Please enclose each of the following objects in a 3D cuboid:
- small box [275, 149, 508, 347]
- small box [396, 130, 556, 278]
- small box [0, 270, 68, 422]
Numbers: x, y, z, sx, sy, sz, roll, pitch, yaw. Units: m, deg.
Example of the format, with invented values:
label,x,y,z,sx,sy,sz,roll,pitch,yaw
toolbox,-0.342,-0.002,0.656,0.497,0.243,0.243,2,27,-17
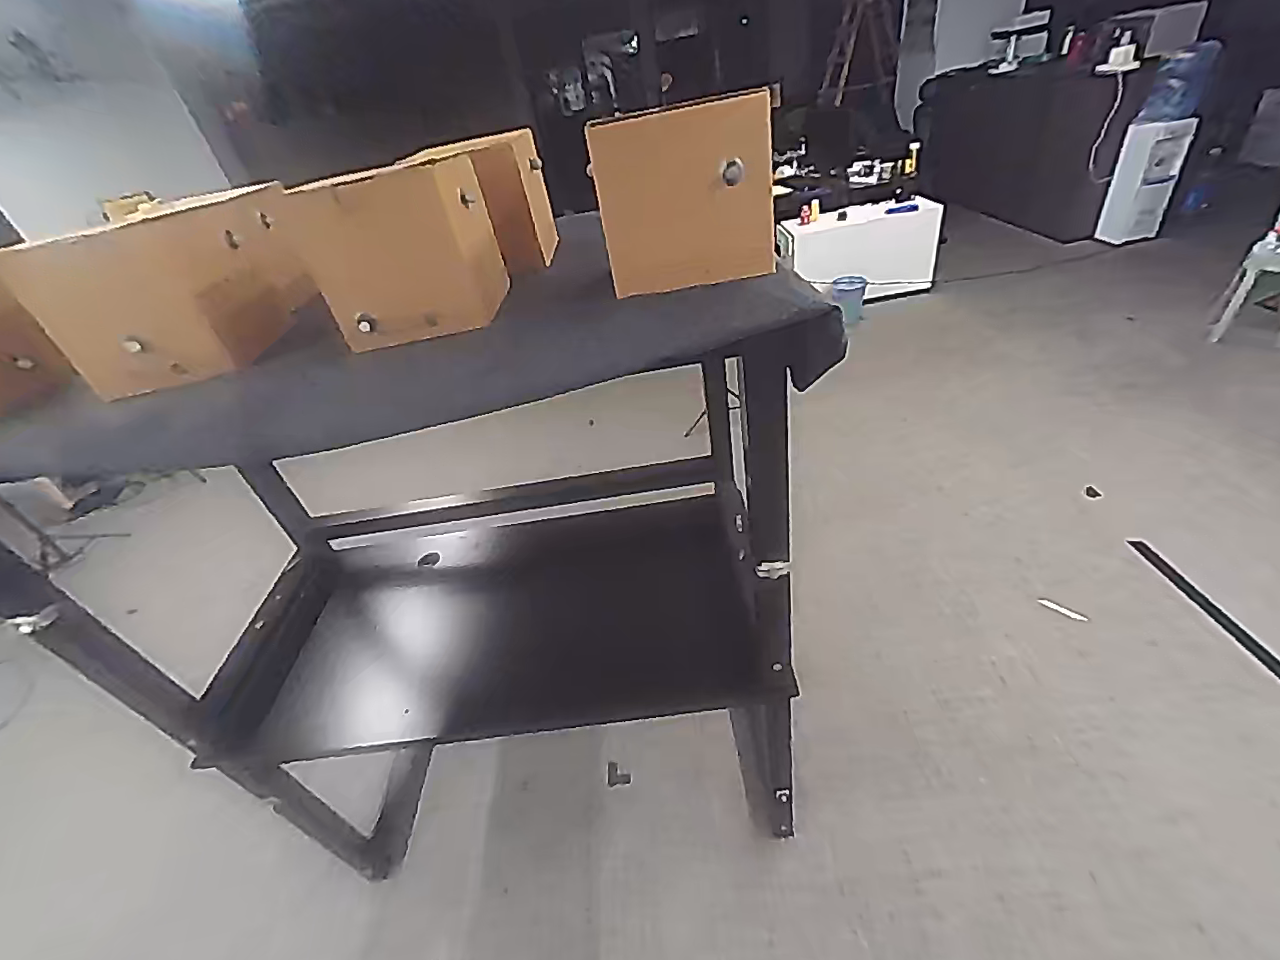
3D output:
label,x,y,z,sx,sy,sz,roll,pitch,yaw
small box,-0.266,-0.267,0.634,0.168,0.176,0.179,-10,35,3
small box,-0.229,-0.407,0.812,0.168,0.176,0.179,-9,38,4
small box,-0.877,-0.155,0.658,0.168,0.176,0.179,-13,37,-2
